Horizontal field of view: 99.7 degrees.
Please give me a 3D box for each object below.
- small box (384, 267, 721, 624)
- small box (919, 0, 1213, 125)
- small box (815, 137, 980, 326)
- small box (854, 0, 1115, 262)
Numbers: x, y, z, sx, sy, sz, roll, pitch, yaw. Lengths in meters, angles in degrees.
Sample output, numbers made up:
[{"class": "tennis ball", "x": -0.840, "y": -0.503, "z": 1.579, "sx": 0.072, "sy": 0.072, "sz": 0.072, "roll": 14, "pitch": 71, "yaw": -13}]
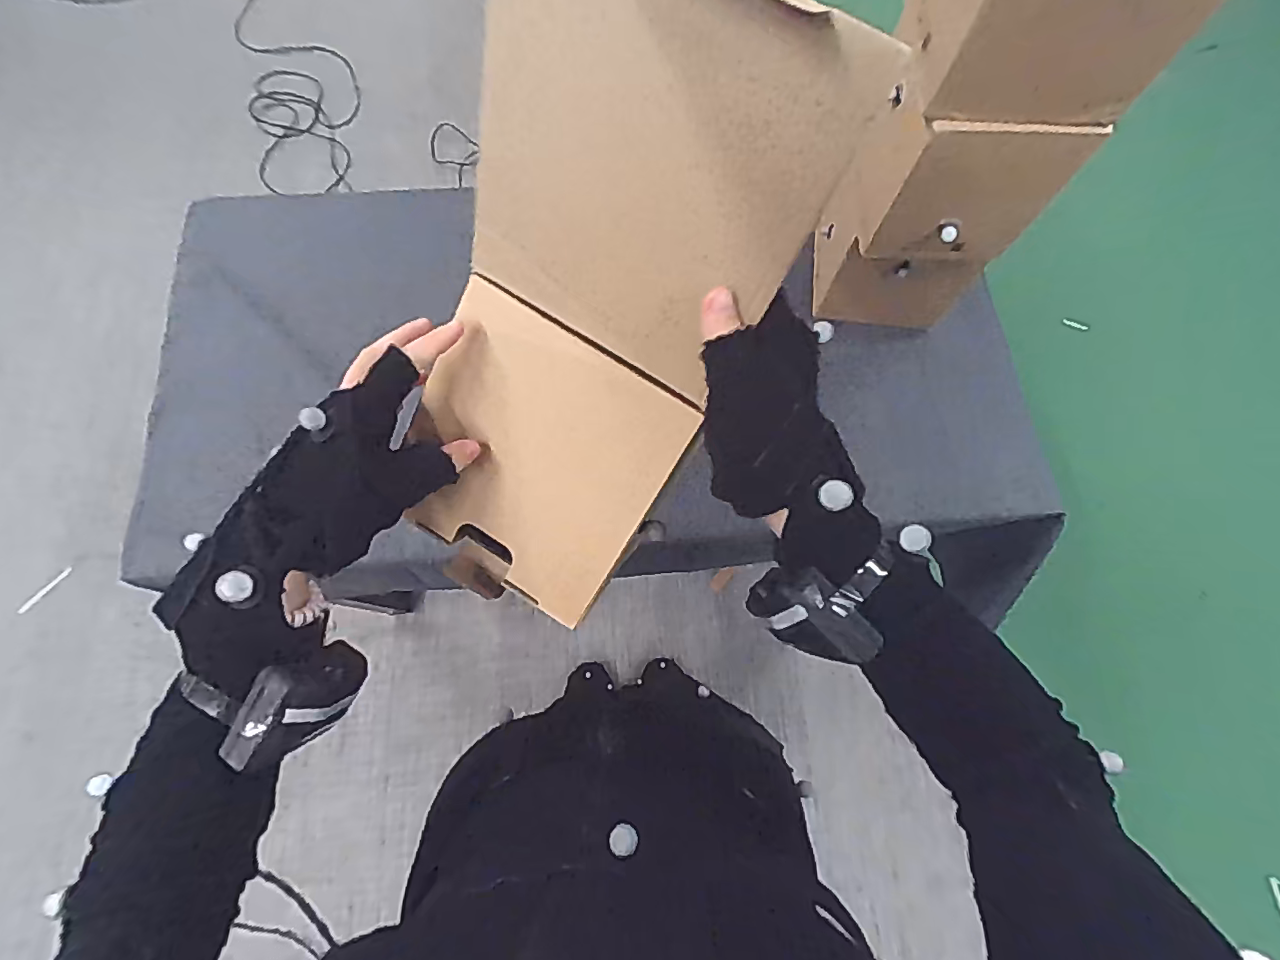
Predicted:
[{"class": "small box", "x": -0.050, "y": -0.035, "z": 0.414, "sx": 0.168, "sy": 0.176, "sz": 0.179, "roll": 32, "pitch": 111, "yaw": 4}, {"class": "small box", "x": 0.345, "y": -0.421, "z": 0.433, "sx": 0.179, "sy": 0.176, "sz": 0.168, "roll": 4, "pitch": 73, "yaw": 1}, {"class": "small box", "x": 0.354, "y": -0.334, "z": 0.749, "sx": 0.179, "sy": 0.176, "sz": 0.168, "roll": 8, "pitch": 72, "yaw": 1}, {"class": "small box", "x": 0.347, "y": -0.369, "z": 0.587, "sx": 0.168, "sy": 0.176, "sz": 0.179, "roll": 2, "pitch": 73, "yaw": 0}]
